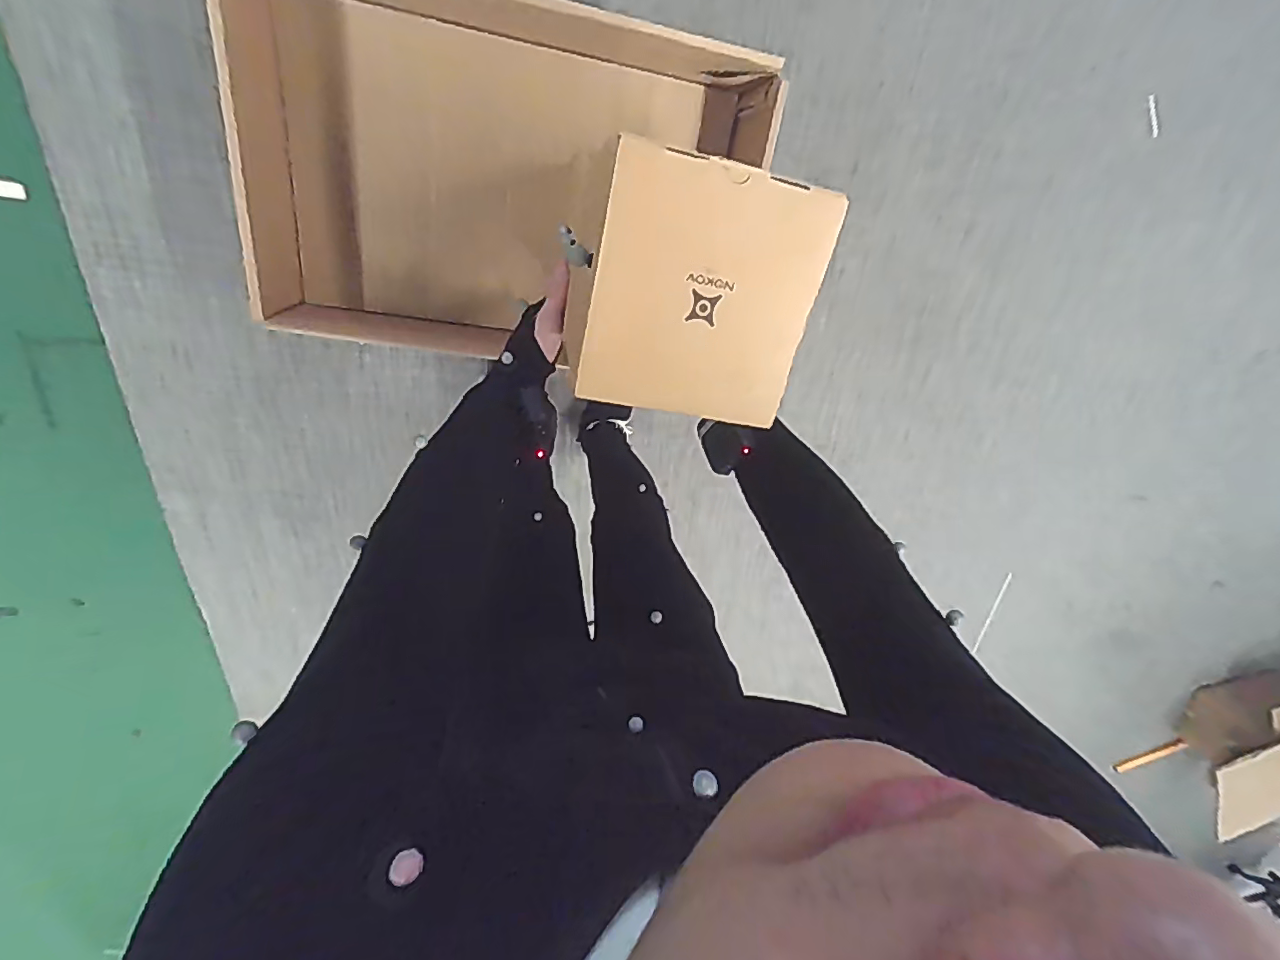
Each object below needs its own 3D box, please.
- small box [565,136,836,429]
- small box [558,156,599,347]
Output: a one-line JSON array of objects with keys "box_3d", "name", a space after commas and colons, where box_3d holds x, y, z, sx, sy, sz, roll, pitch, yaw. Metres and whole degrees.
[{"box_3d": [0.031, -0.164, 0.463, 0.168, 0.176, 0.179, 8, 114, -13], "name": "small box"}, {"box_3d": [0.003, -0.238, 0.605, 0.168, 0.176, 0.179, 7, 114, -13], "name": "small box"}]
